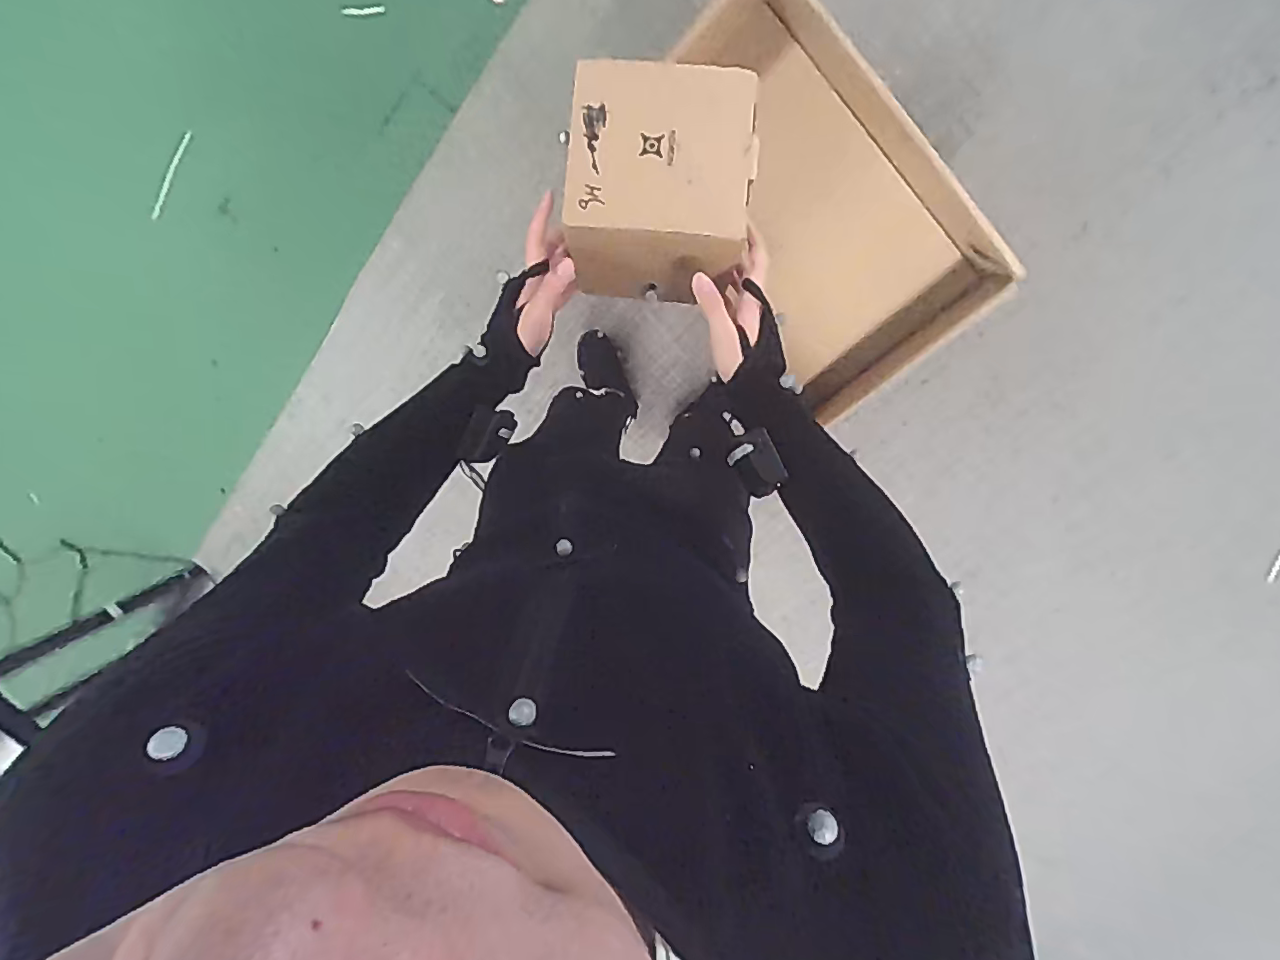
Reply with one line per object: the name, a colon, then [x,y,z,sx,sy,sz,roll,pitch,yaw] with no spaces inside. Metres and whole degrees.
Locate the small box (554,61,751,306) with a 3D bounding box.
small box: [0.011,-0.301,0.586,0.179,0.176,0.168,4,86,-1]
